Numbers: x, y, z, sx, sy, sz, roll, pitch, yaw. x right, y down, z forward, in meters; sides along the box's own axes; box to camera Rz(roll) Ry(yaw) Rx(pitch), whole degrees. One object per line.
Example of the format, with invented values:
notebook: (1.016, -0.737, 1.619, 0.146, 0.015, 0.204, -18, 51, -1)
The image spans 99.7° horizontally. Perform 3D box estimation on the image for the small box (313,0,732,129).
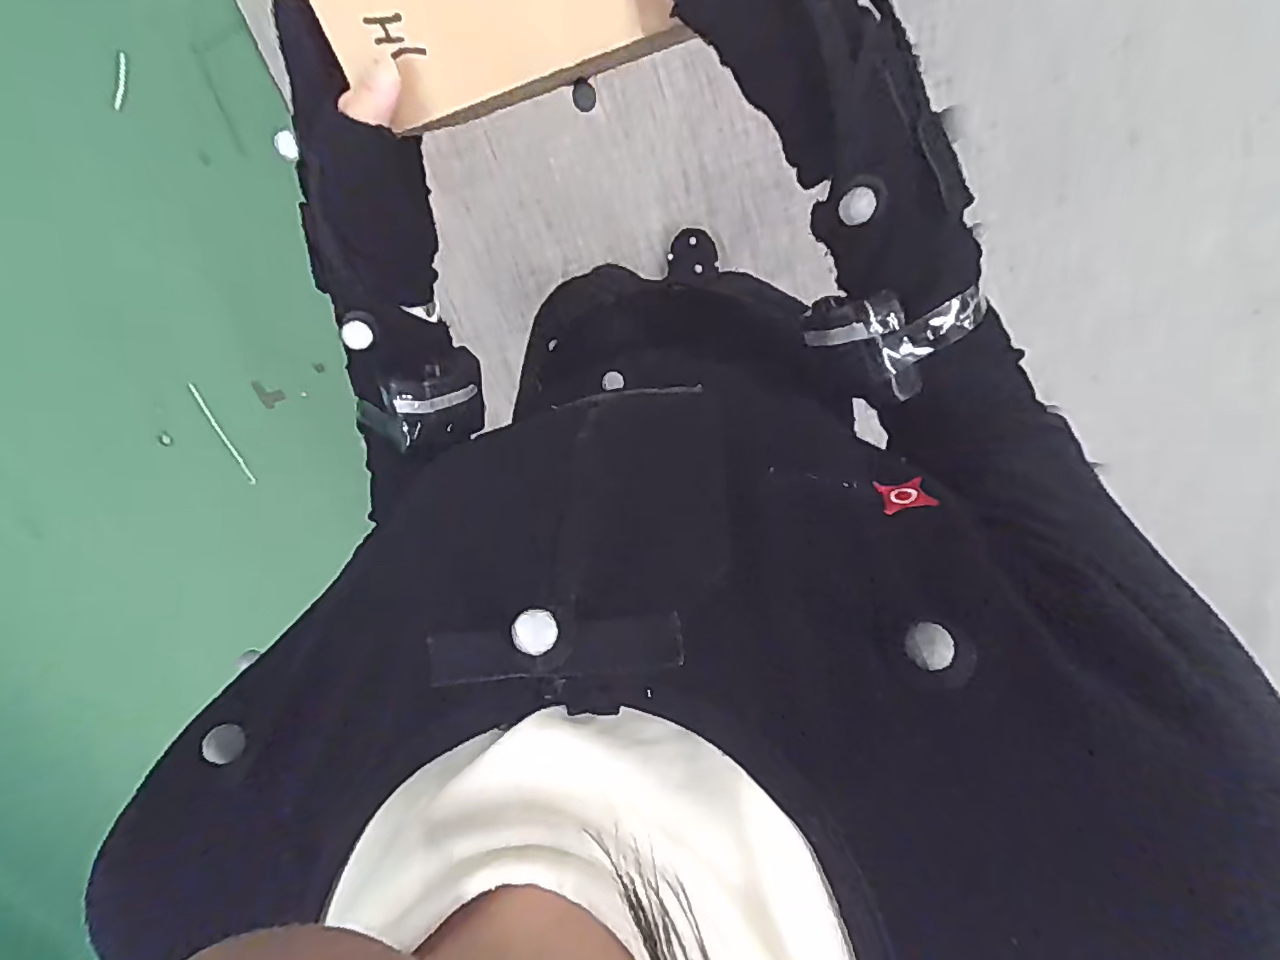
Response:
small box: (-0.064, -0.294, 0.261, 0.179, 0.176, 0.168, -13, 124, 10)
